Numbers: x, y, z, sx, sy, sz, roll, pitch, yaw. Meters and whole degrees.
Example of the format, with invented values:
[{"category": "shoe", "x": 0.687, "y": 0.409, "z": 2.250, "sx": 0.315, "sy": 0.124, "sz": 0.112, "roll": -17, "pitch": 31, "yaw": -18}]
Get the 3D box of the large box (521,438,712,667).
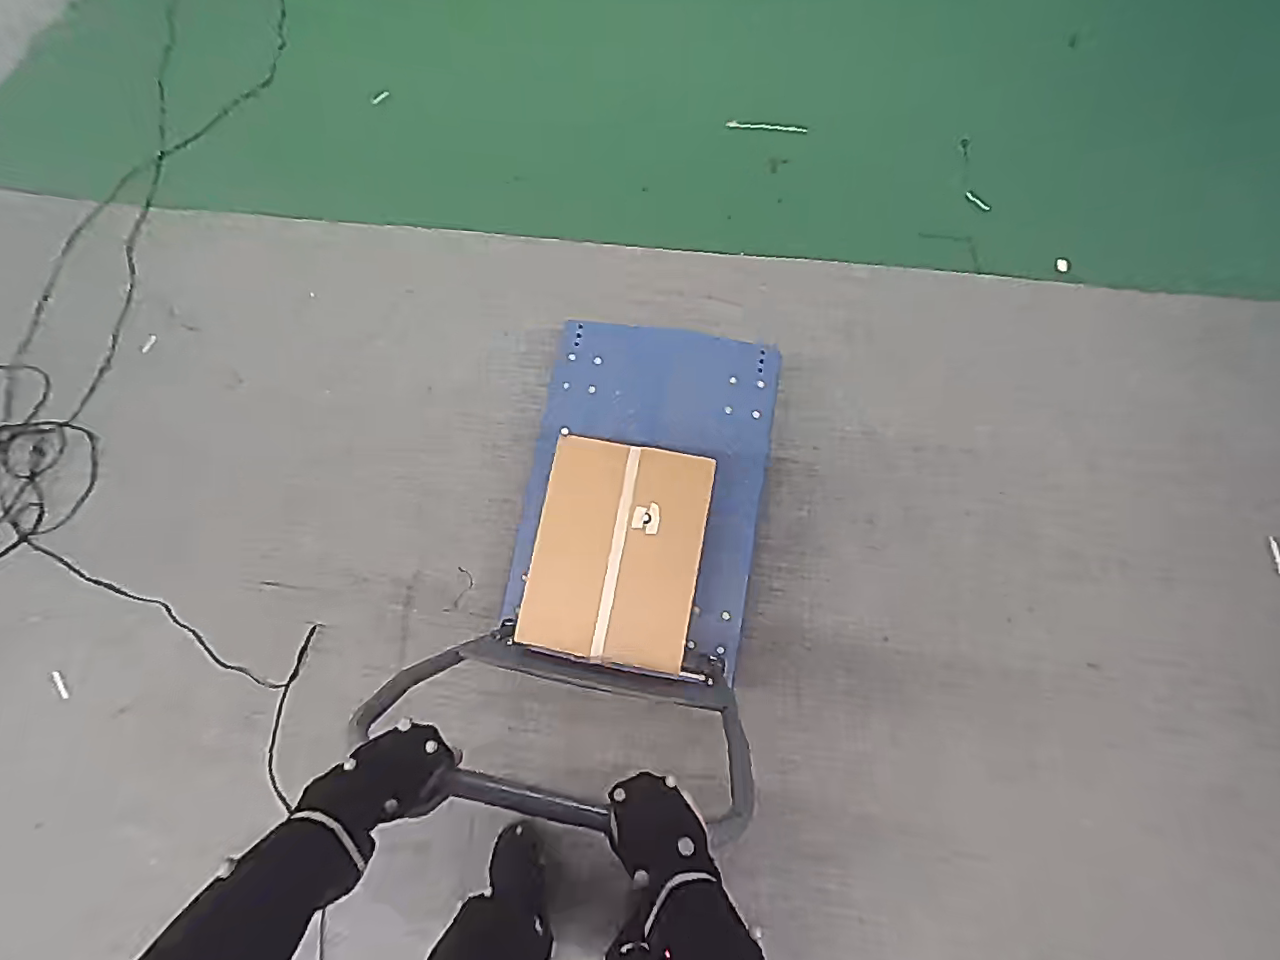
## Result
[{"category": "large box", "x": -0.031, "y": 0.162, "z": 1.183, "sx": 0.320, "sy": 0.320, "sz": 0.408, "roll": 10, "pitch": 79, "yaw": 6}]
